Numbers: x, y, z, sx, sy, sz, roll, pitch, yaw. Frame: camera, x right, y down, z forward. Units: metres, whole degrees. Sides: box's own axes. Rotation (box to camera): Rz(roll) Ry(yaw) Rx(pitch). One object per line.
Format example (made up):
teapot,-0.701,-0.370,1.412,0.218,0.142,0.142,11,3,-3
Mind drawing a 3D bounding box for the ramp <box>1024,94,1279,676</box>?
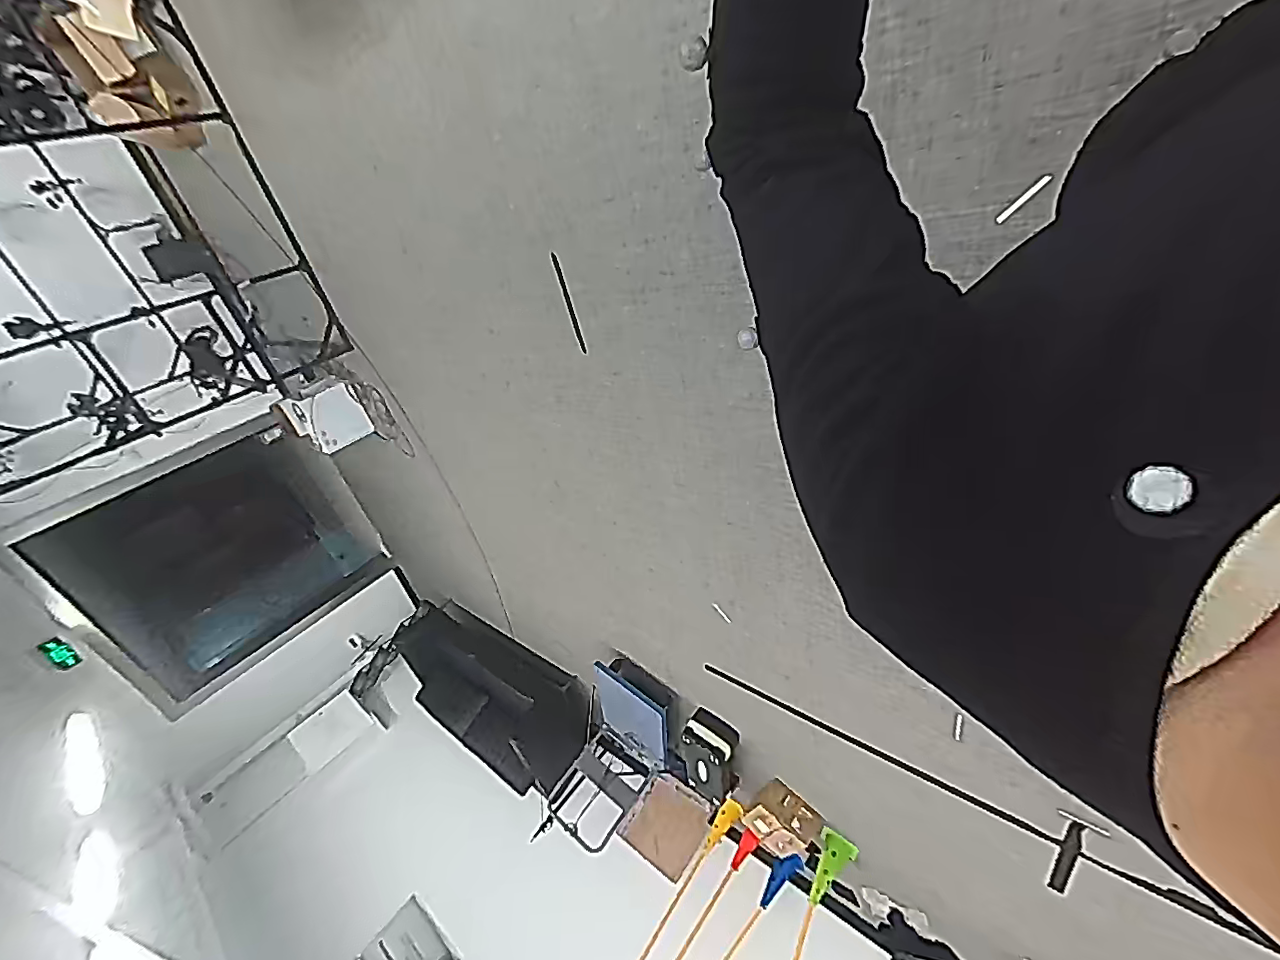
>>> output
ramp,1.053,-0.114,0.967,0.509,0.206,0.991,14,130,43
